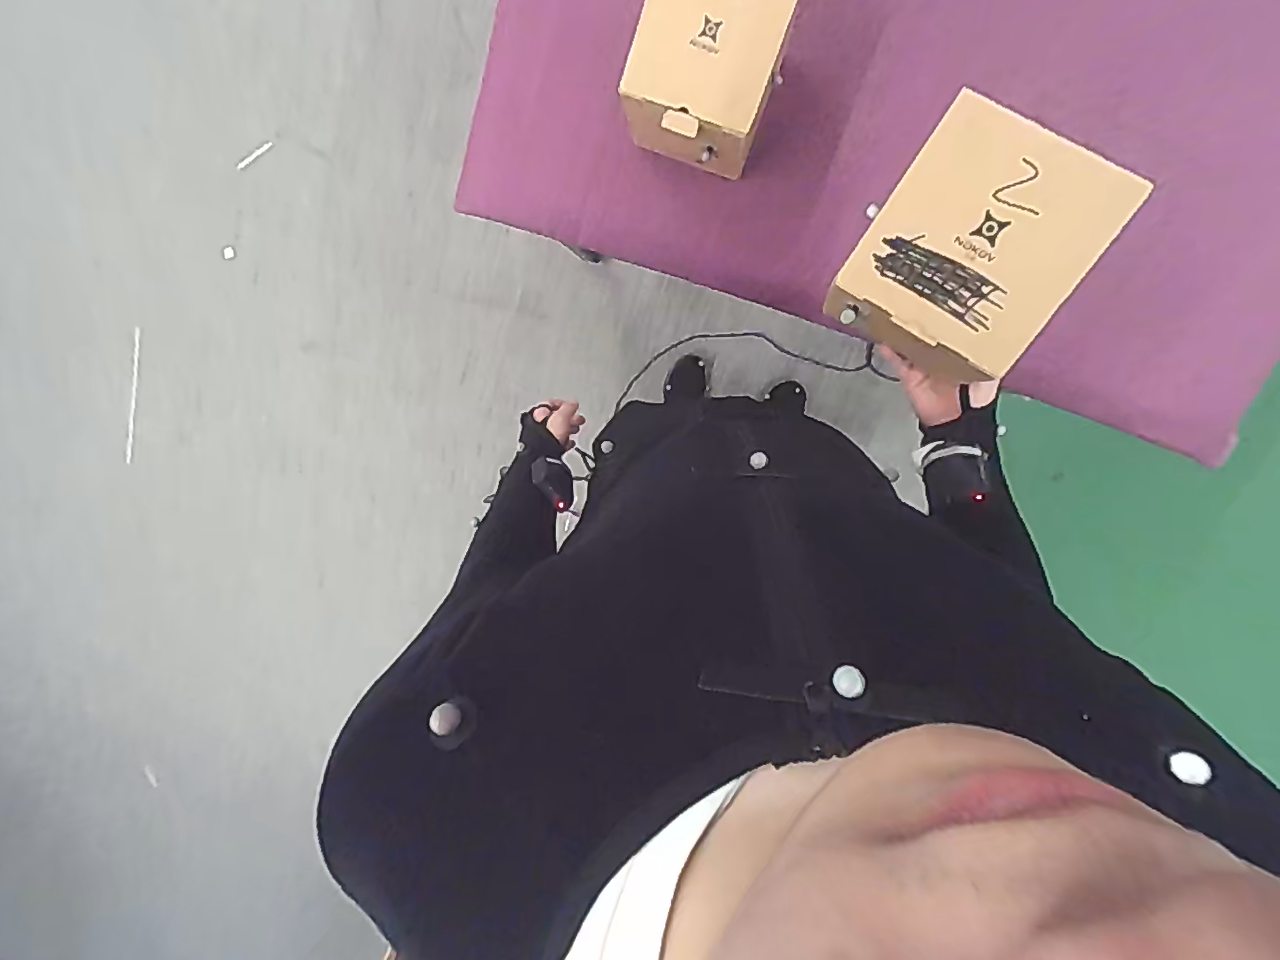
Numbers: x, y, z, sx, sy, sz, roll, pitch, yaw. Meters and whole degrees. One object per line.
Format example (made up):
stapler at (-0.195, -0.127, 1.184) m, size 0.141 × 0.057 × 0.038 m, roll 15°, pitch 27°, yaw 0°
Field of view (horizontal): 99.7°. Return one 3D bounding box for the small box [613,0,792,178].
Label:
small box at (0.081, -0.525, 0.698) m, size 0.168 × 0.176 × 0.179 m, roll 21°, pitch 103°, yaw 1°
